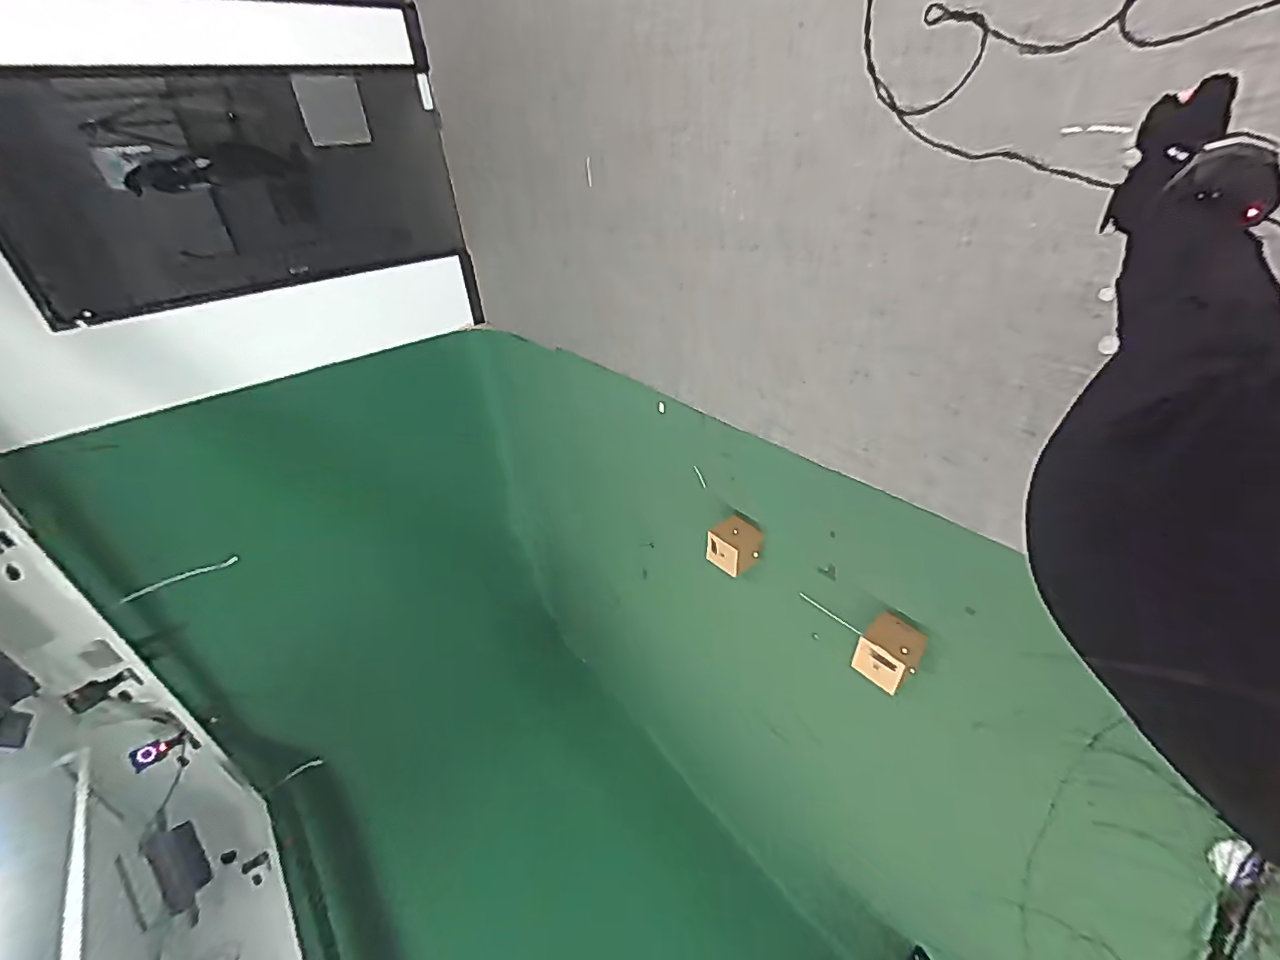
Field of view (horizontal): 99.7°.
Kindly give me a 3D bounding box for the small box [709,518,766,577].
[{"bbox_3d":[0.427,0.289,2.376,0.179,0.176,0.168,33,139,39],"label":"small box"}]
